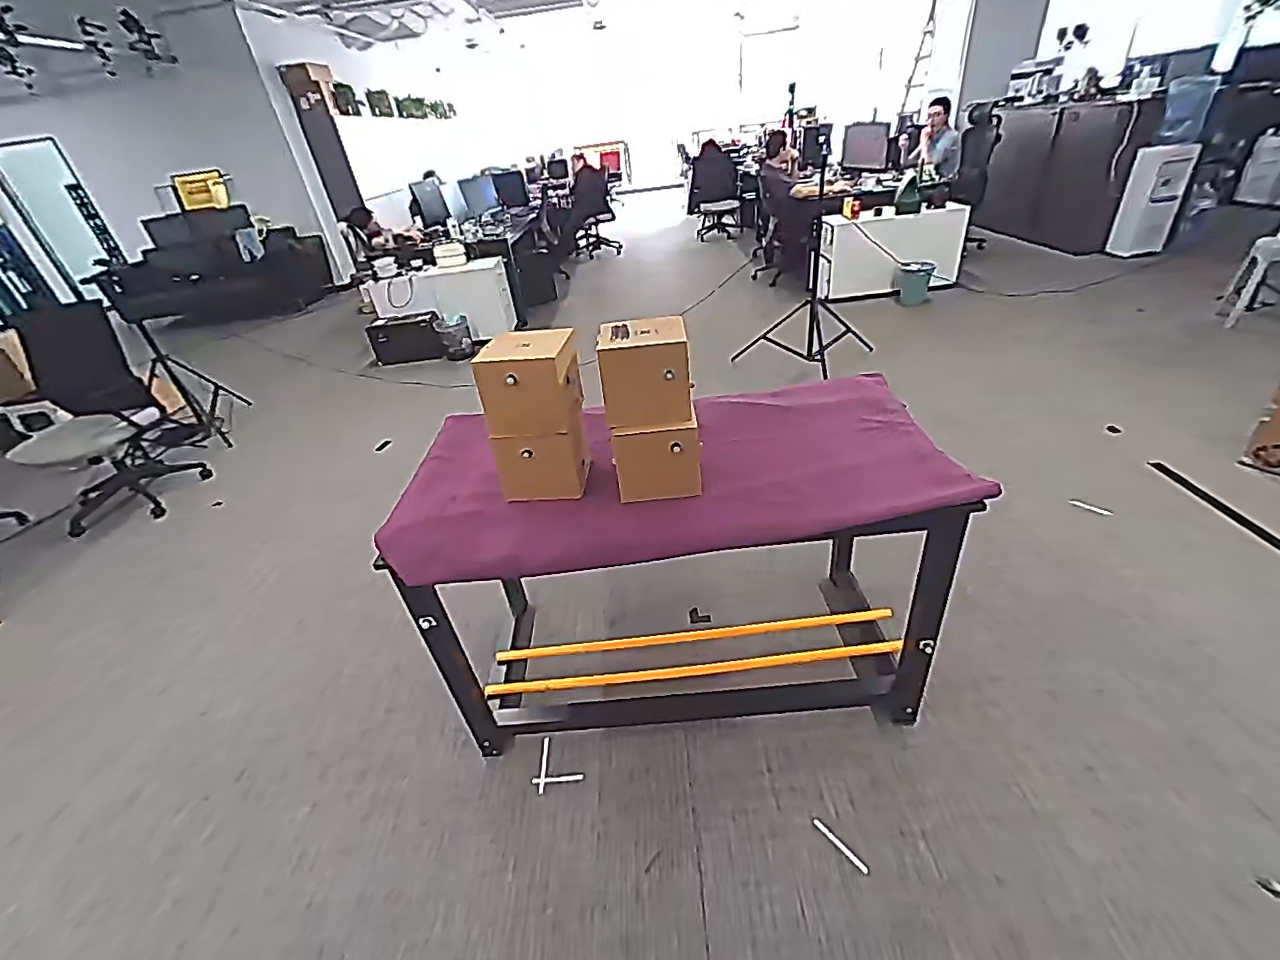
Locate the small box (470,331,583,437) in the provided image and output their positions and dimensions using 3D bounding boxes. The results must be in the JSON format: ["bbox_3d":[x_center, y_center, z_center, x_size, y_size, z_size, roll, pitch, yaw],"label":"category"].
[{"bbox_3d":[-0.228,-0.203,1.148,0.179,0.176,0.168,-2,33,9],"label":"small box"}]

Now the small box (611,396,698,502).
[{"bbox_3d":[0.035,-0.067,1.188,0.179,0.176,0.168,-6,32,3],"label":"small box"}]
